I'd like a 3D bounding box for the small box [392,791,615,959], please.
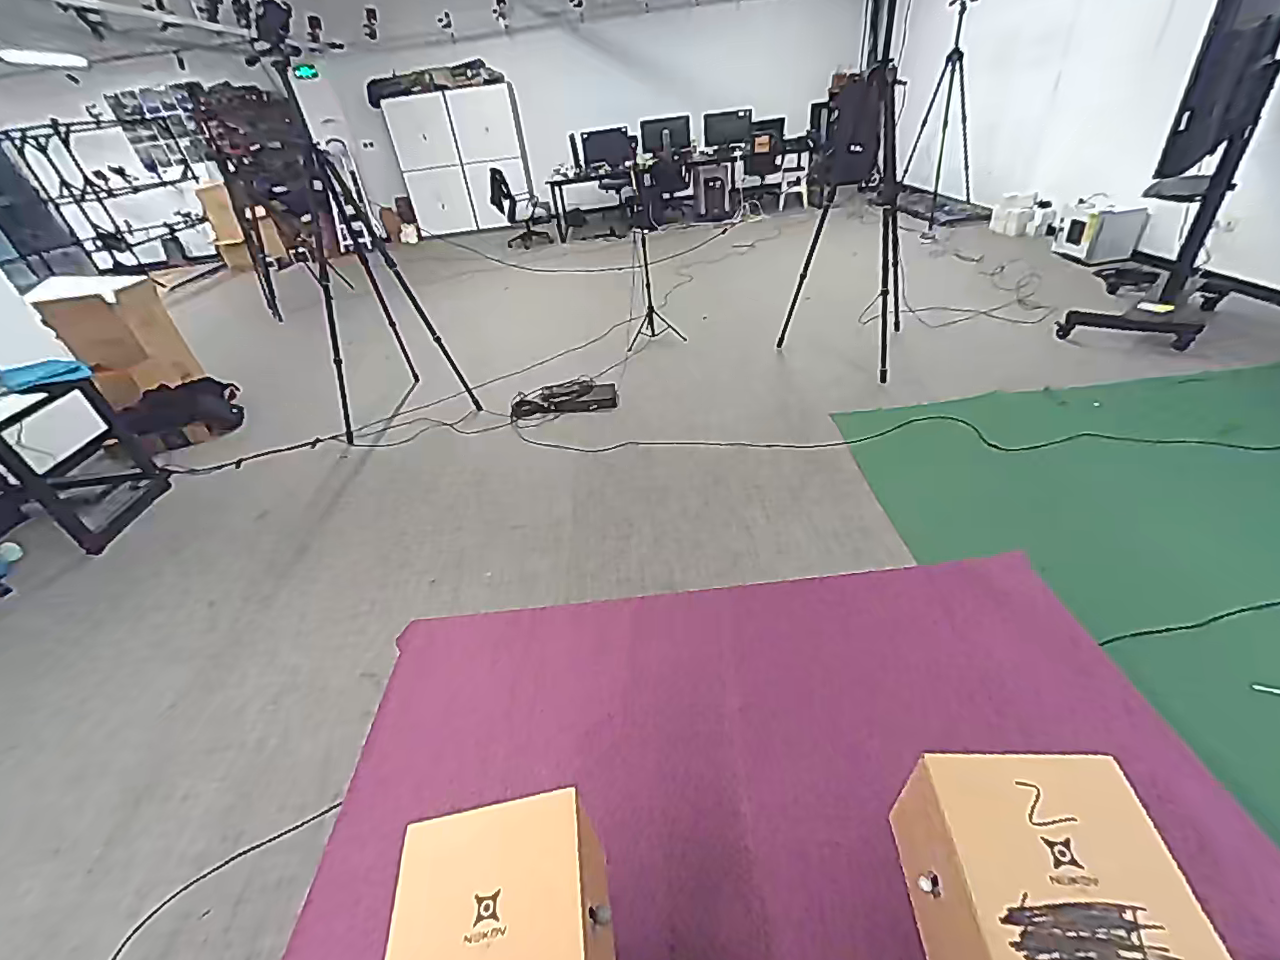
[{"bbox_3d":[-0.119,0.438,0.515,0.168,0.176,0.179,-12,38,-3],"label":"small box"}]
